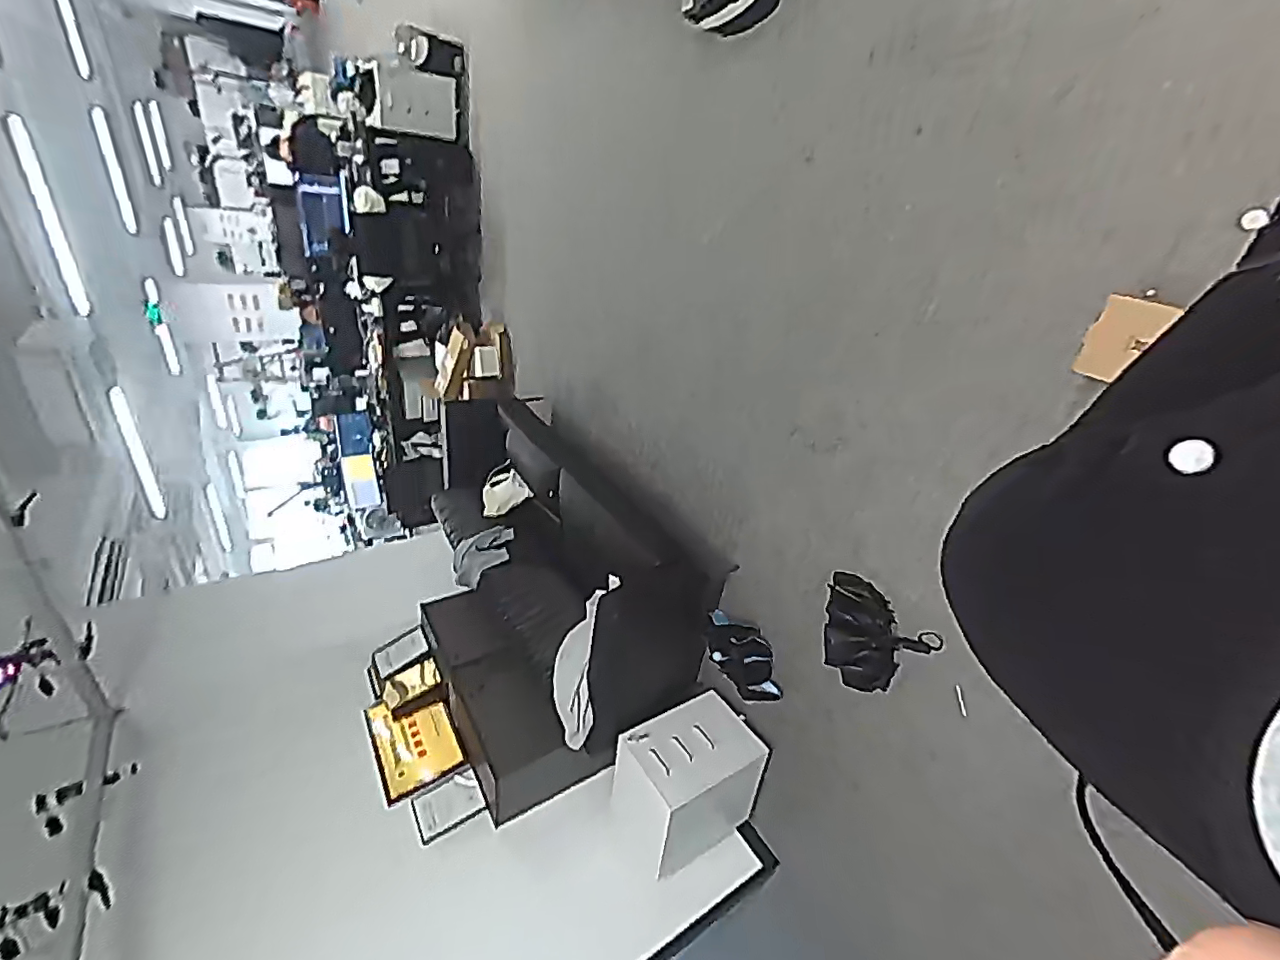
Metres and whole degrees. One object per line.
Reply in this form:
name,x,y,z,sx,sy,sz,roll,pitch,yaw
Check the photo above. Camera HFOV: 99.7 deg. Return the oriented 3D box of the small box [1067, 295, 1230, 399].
small box,1.058,-0.283,1.129,0.179,0.176,0.168,39,133,43
